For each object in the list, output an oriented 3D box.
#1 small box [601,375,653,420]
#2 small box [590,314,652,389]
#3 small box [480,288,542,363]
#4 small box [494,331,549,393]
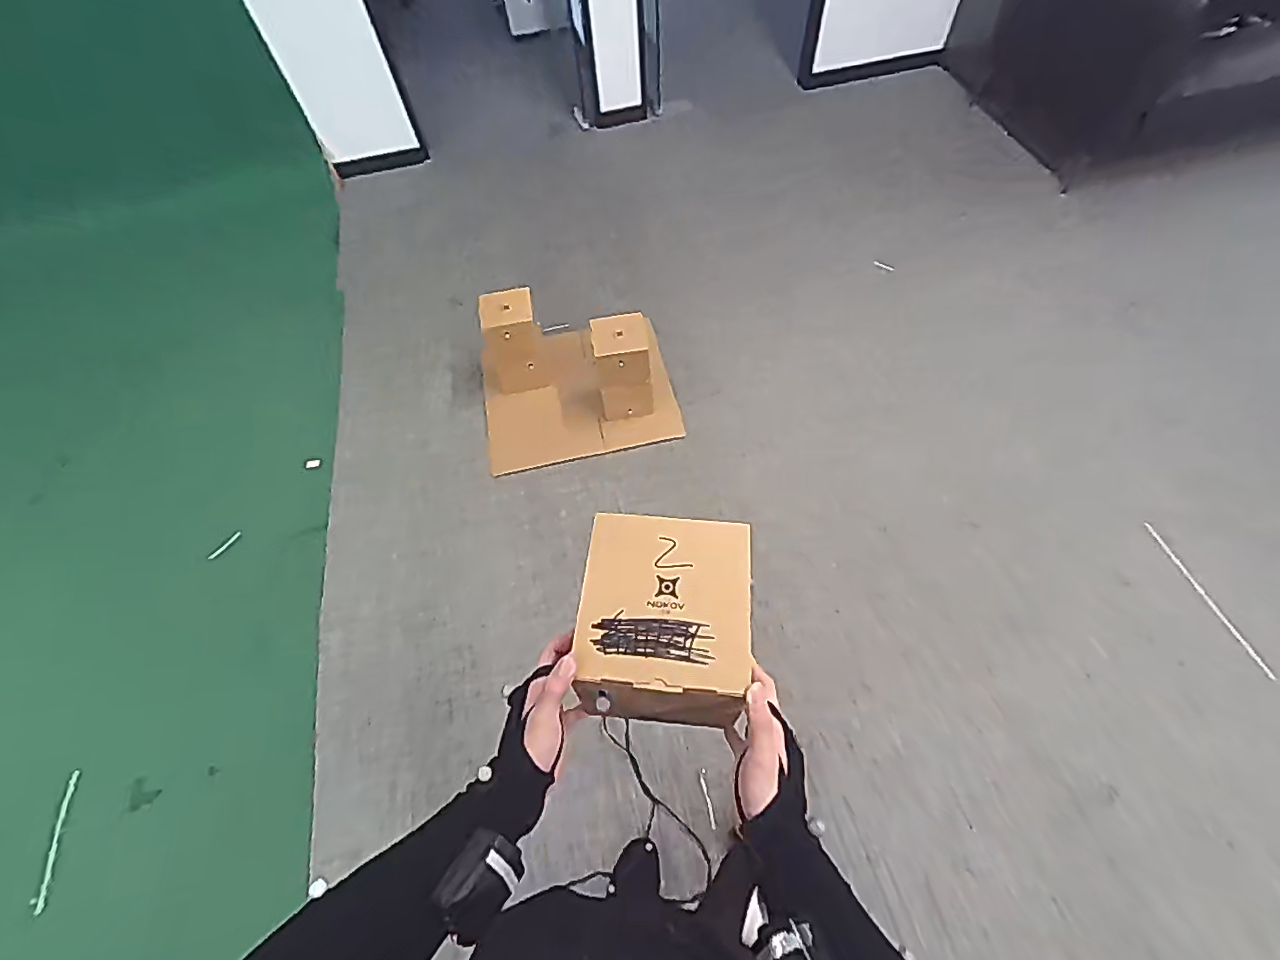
[{"bbox_3d":[-0.049,-0.333,1.917,0.179,0.176,0.168,-10,59,-2],"label":"small box"},{"bbox_3d":[-0.061,-0.418,1.777,0.179,0.176,0.168,-8,60,0],"label":"small box"},{"bbox_3d":[-0.440,-0.529,1.865,0.179,0.176,0.168,-11,61,-2],"label":"small box"},{"bbox_3d":[-0.438,-0.447,2.005,0.179,0.176,0.168,-11,59,-2],"label":"small box"}]
